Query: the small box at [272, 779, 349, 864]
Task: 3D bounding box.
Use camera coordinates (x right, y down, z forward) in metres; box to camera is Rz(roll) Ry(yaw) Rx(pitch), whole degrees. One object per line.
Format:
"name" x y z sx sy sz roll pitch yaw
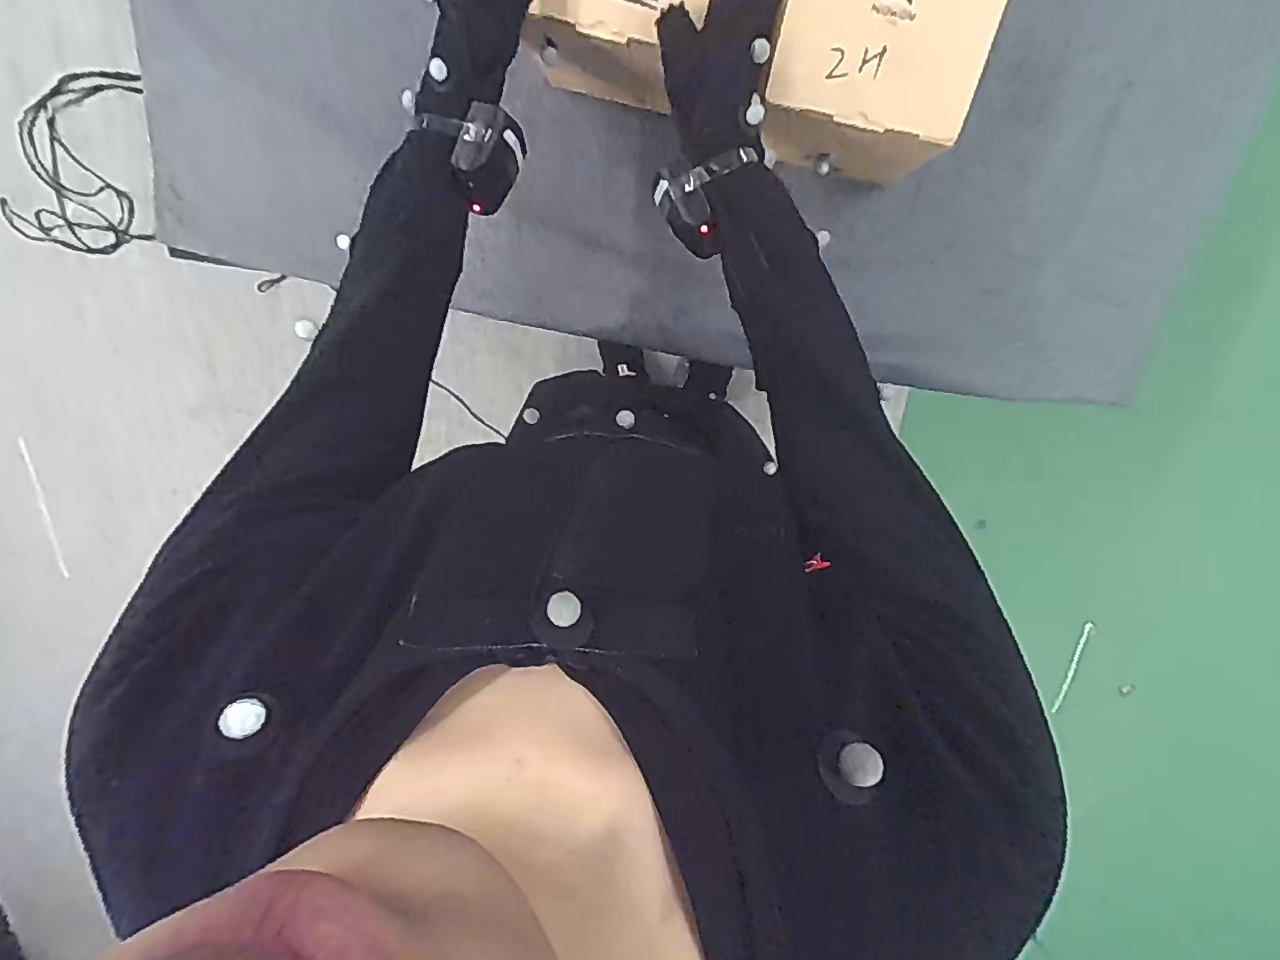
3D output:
"small box" -1.134 1.176 1.872 0.168 0.176 0.179 13 111 1

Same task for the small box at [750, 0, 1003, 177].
"small box" 0.206 -0.406 0.497 0.168 0.176 0.179 13 110 1
